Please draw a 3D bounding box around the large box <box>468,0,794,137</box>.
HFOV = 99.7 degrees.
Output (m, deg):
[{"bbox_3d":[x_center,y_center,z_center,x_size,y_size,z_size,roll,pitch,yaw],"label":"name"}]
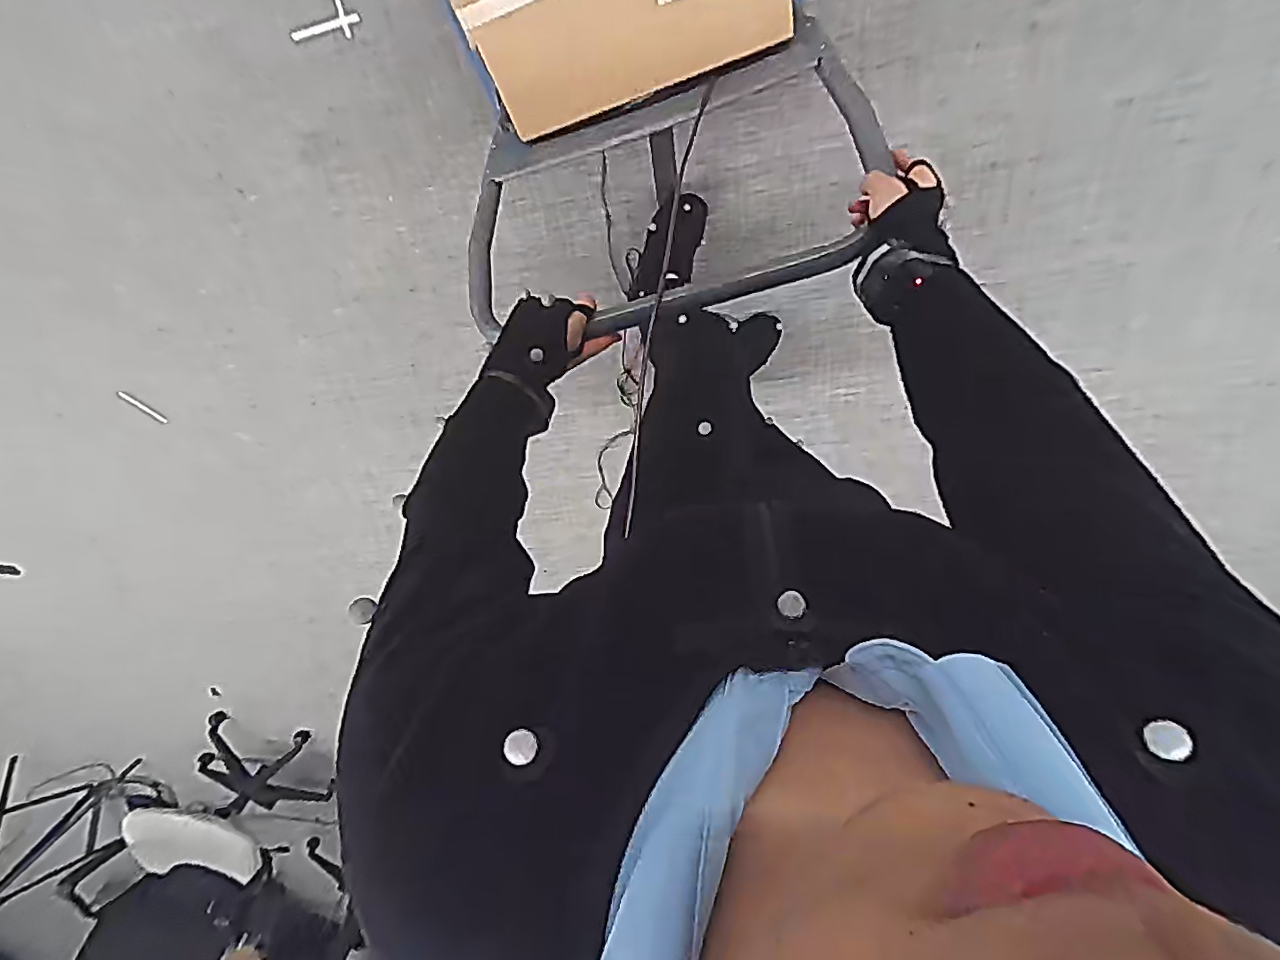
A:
[{"bbox_3d":[-0.036,-0.762,0.747,0.408,0.320,0.320,-13,141,13],"label":"large box"}]
